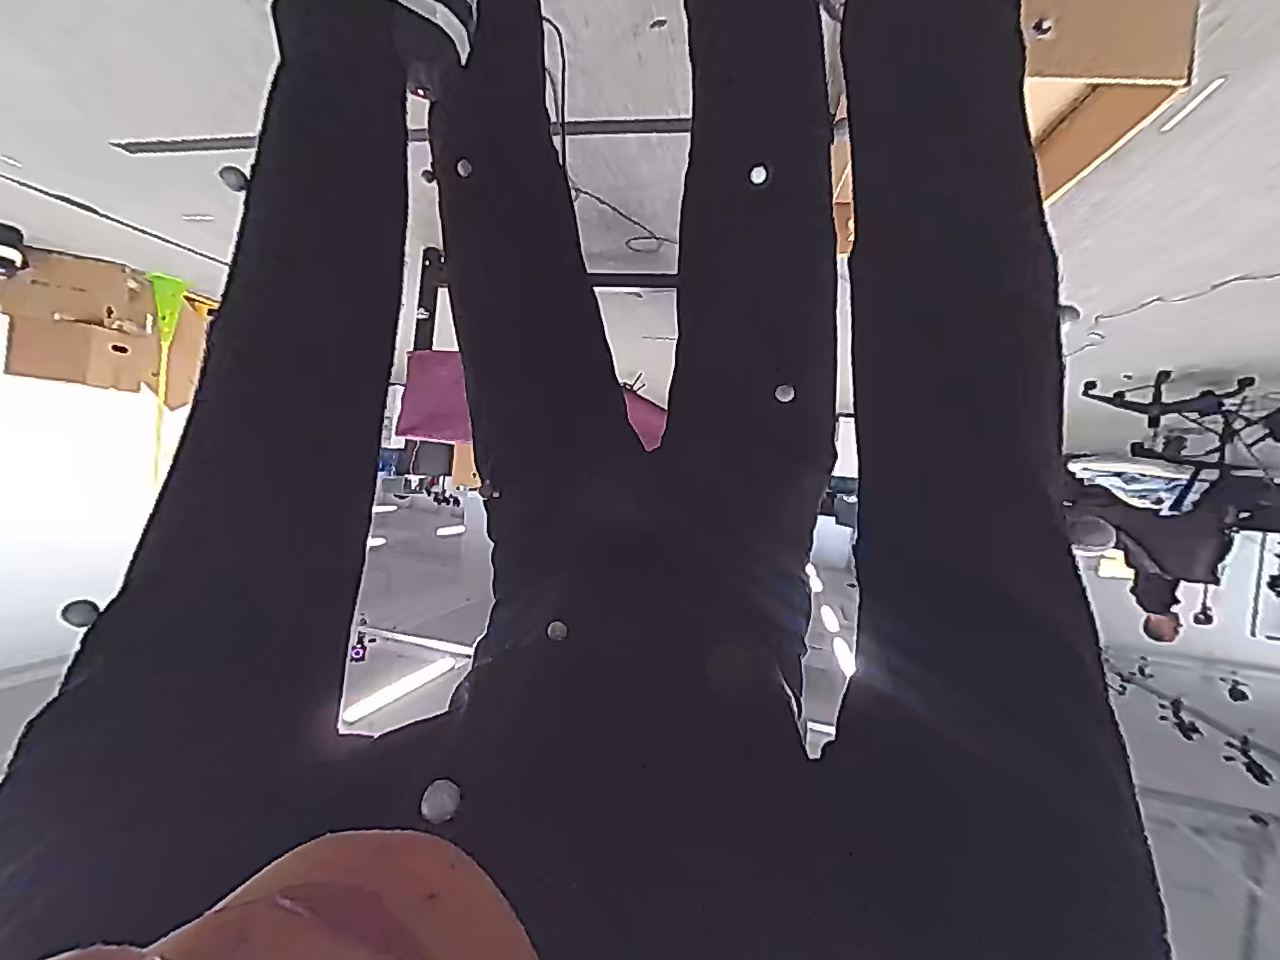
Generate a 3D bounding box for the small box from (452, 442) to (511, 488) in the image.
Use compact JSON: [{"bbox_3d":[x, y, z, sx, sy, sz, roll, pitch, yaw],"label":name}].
[{"bbox_3d":[-0.627,-0.061,2.160,0.179,0.176,0.168,6,-179,12],"label":"small box"}]
